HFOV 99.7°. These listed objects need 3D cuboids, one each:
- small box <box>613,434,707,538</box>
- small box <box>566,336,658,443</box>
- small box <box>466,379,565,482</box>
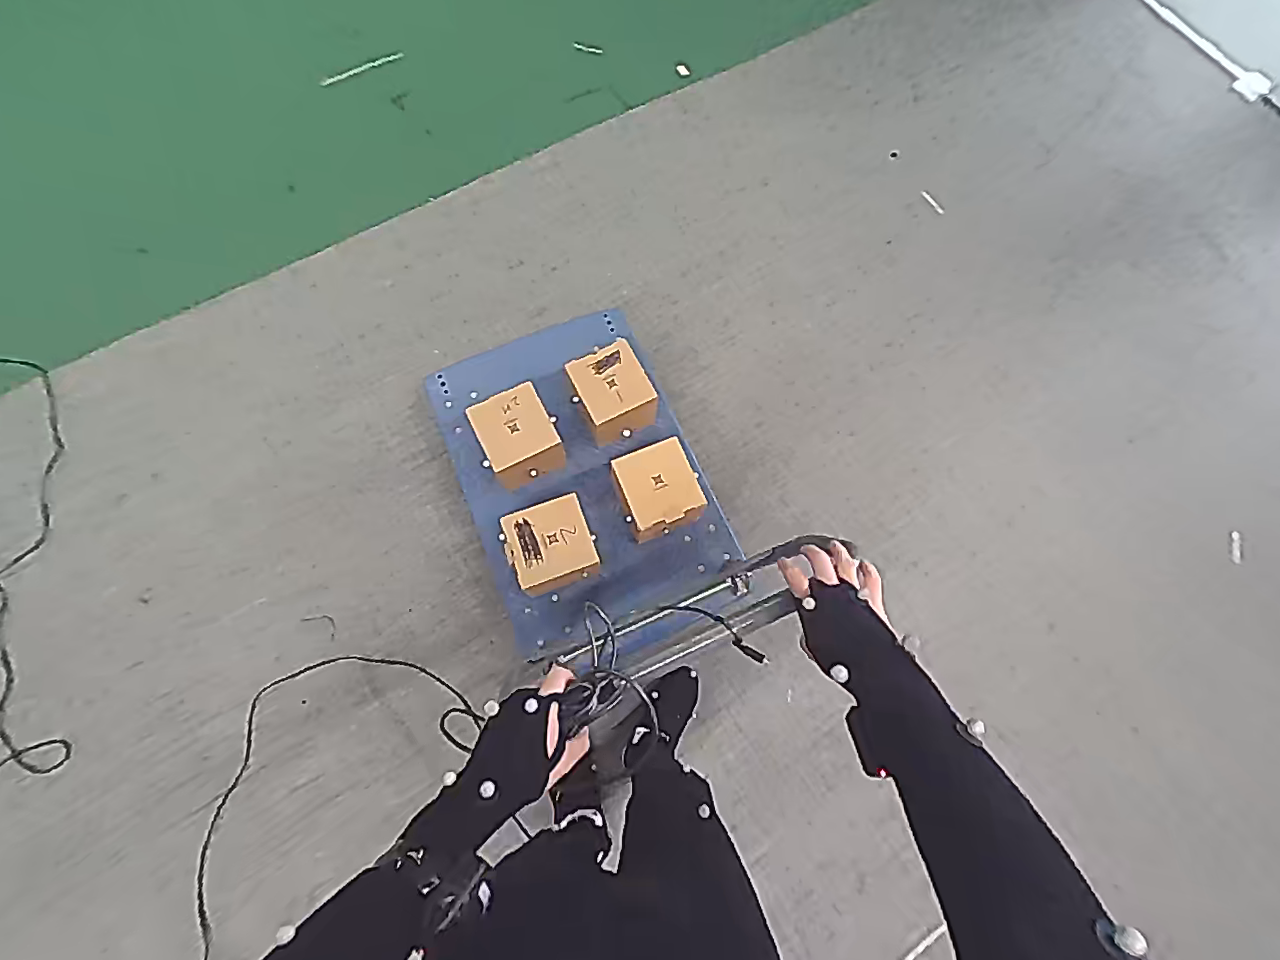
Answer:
[{"bbox_3d":[0.038,0.019,1.287,0.168,0.176,0.179,-21,76,-8],"label":"small box"},{"bbox_3d":[-0.071,-0.220,1.351,0.168,0.176,0.179,-26,77,-8],"label":"small box"},{"bbox_3d":[-0.293,-0.109,1.310,0.168,0.176,0.179,-26,76,-10],"label":"small box"}]
